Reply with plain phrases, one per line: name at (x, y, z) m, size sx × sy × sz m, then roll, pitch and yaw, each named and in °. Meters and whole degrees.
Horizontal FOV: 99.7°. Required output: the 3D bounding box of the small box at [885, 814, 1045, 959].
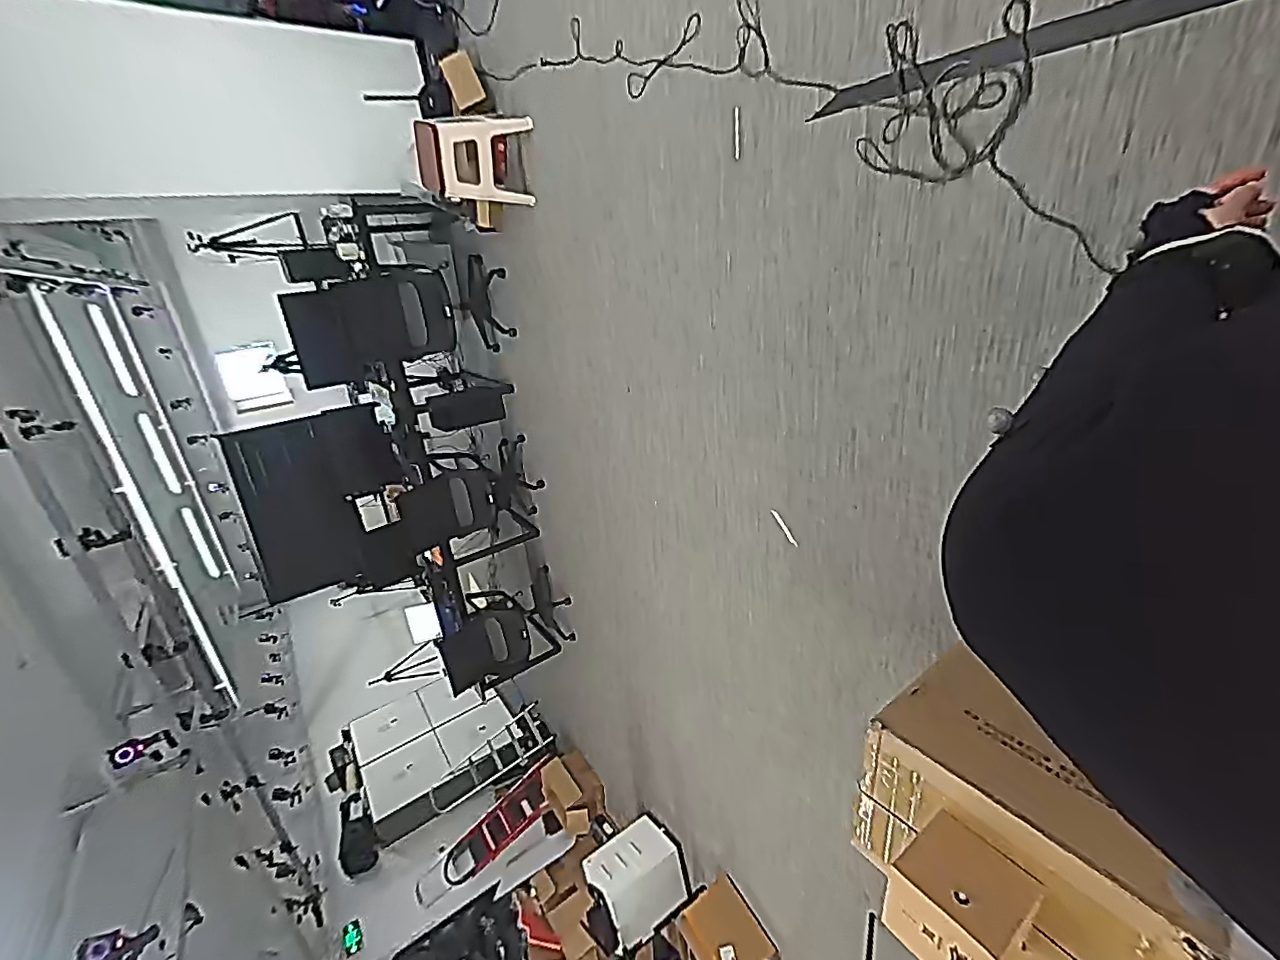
small box at (0.558, 0.734, 0.936) m, size 0.179 × 0.176 × 0.168 m, roll 27°, pitch 128°, yaw 51°
